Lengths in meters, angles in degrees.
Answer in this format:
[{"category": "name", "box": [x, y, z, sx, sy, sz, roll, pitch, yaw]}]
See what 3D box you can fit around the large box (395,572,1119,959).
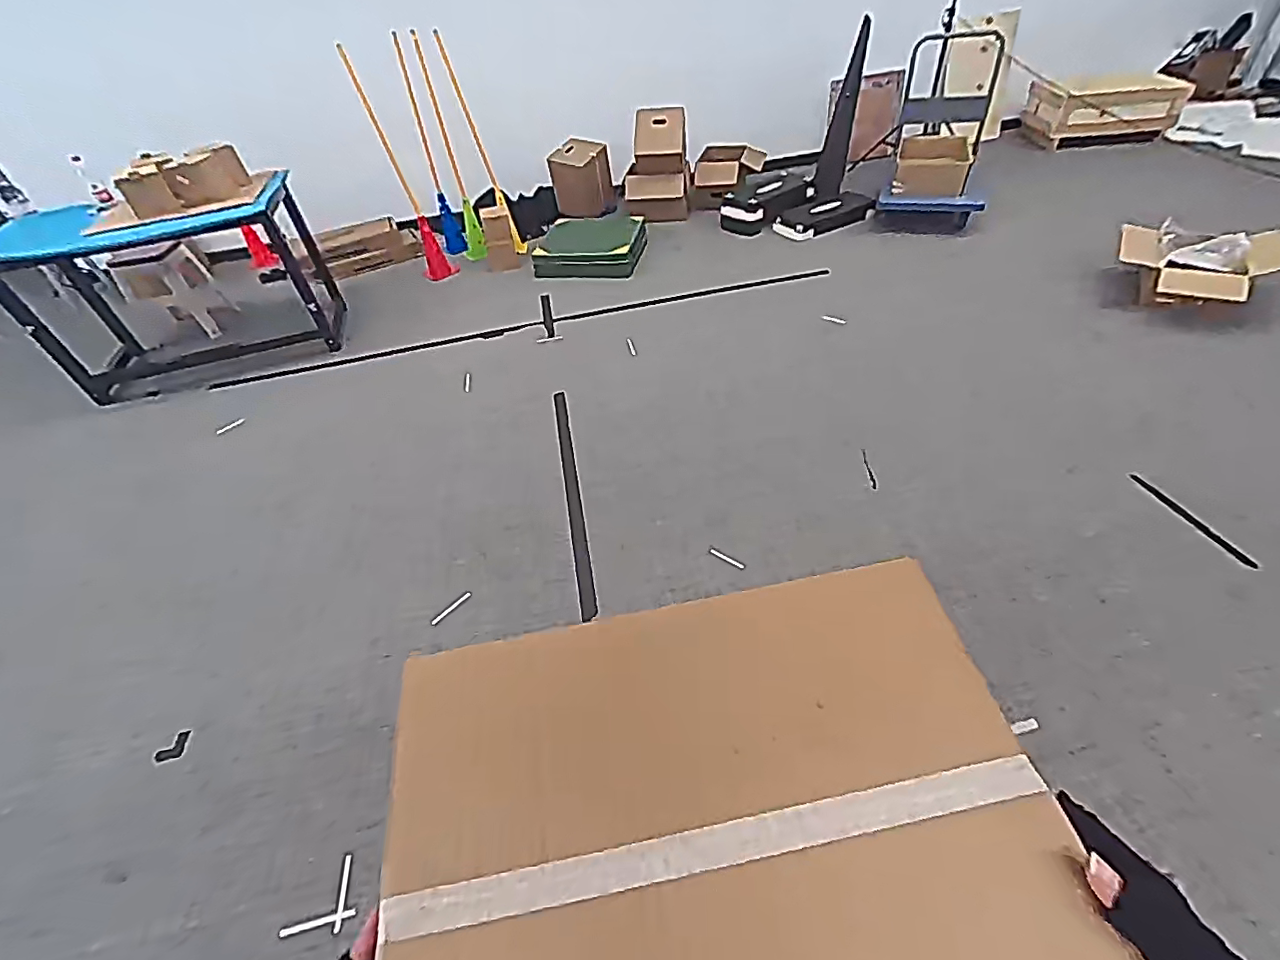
[{"category": "large box", "box": [0.062, 0.319, 0.452, 0.408, 0.320, 0.320, -11, 52, -3]}]
